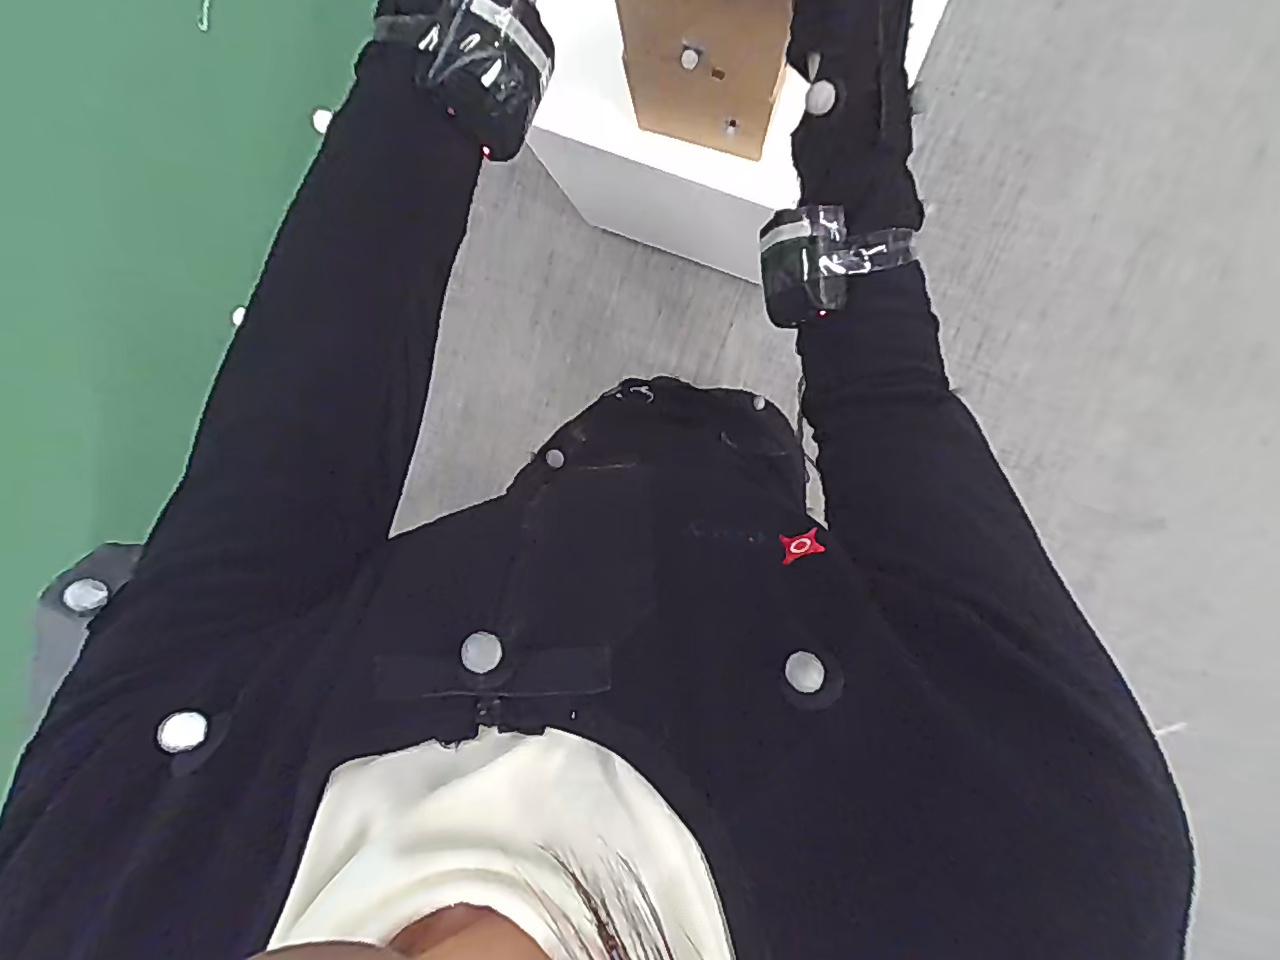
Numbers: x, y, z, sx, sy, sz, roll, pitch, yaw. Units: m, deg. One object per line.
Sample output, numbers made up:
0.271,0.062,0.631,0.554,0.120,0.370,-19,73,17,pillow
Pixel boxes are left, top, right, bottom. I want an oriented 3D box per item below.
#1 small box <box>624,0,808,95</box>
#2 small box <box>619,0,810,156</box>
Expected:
0.079,-0.489,0.471,0.168,0.176,0.179,16,99,4,small box
0.093,-0.511,0.633,0.179,0.176,0.168,18,101,5,small box
